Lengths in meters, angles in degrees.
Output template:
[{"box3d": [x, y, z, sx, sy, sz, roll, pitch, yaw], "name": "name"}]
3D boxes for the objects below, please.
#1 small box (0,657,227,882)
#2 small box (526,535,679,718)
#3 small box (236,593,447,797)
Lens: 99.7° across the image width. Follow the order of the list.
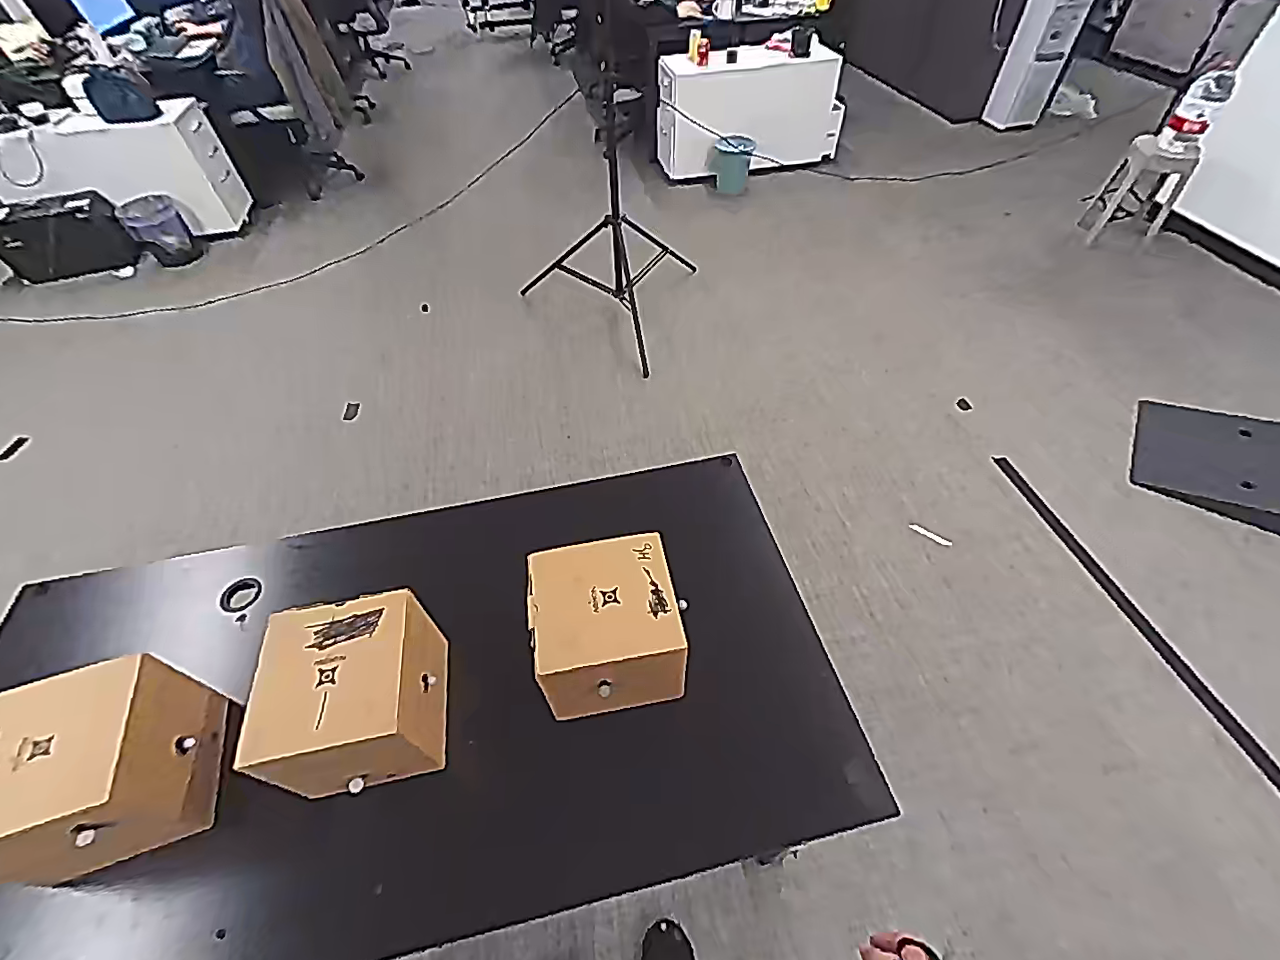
[{"box3d": [-0.627, 0.337, 0.629, 0.179, 0.176, 0.168, -17, 52, -11], "name": "small box"}, {"box3d": [-0.047, 0.200, 0.724, 0.179, 0.176, 0.168, -10, 51, -5], "name": "small box"}, {"box3d": [-0.350, 0.270, 0.677, 0.168, 0.176, 0.179, -10, 51, -6], "name": "small box"}]
